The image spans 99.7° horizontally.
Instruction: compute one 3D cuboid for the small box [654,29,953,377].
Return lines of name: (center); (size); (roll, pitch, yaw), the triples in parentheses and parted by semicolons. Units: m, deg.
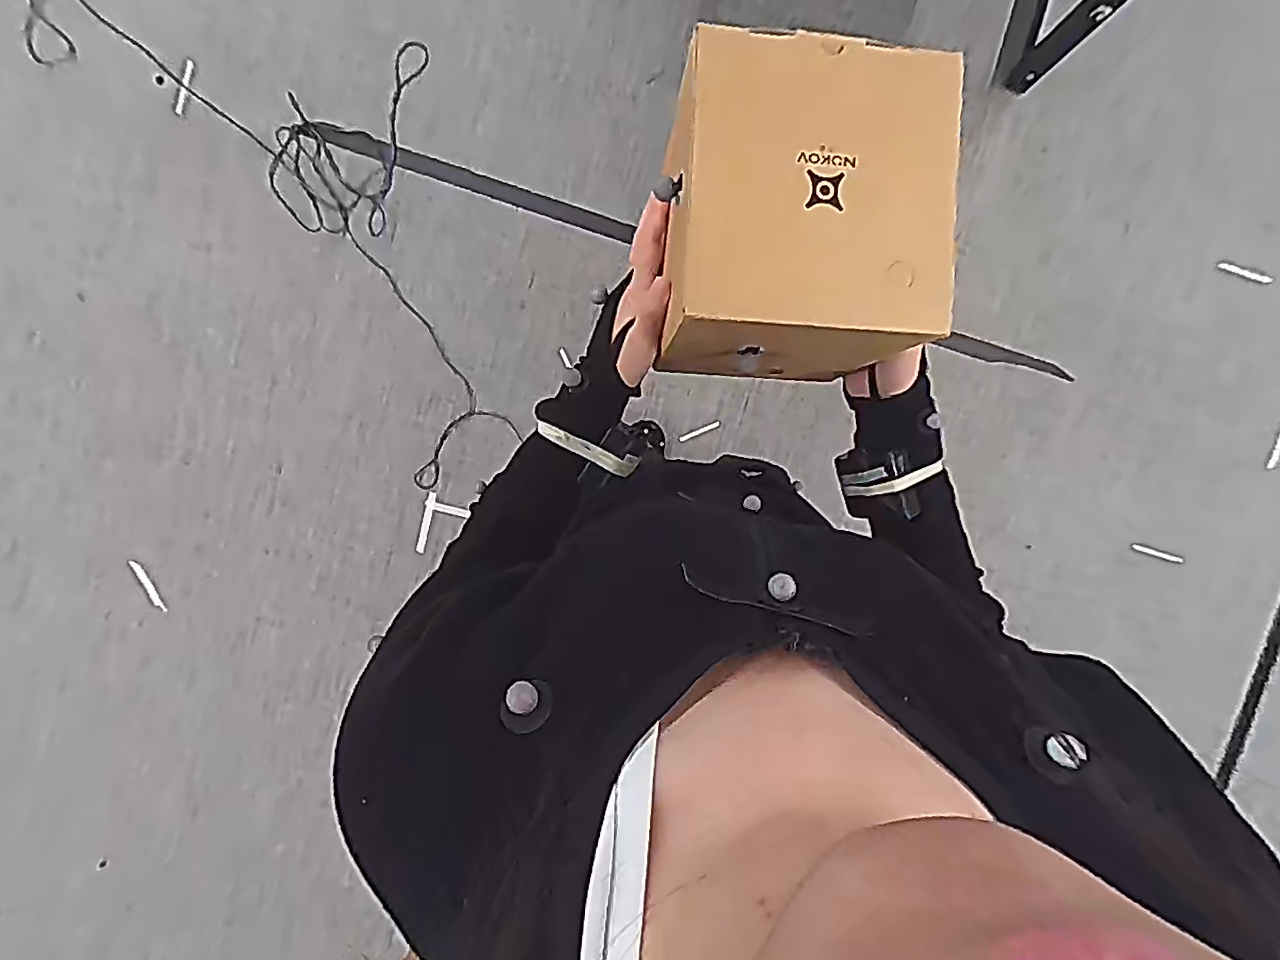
small box: (0.103, -0.180, 0.408); (0.168, 0.176, 0.179); (2, 89, -5)
